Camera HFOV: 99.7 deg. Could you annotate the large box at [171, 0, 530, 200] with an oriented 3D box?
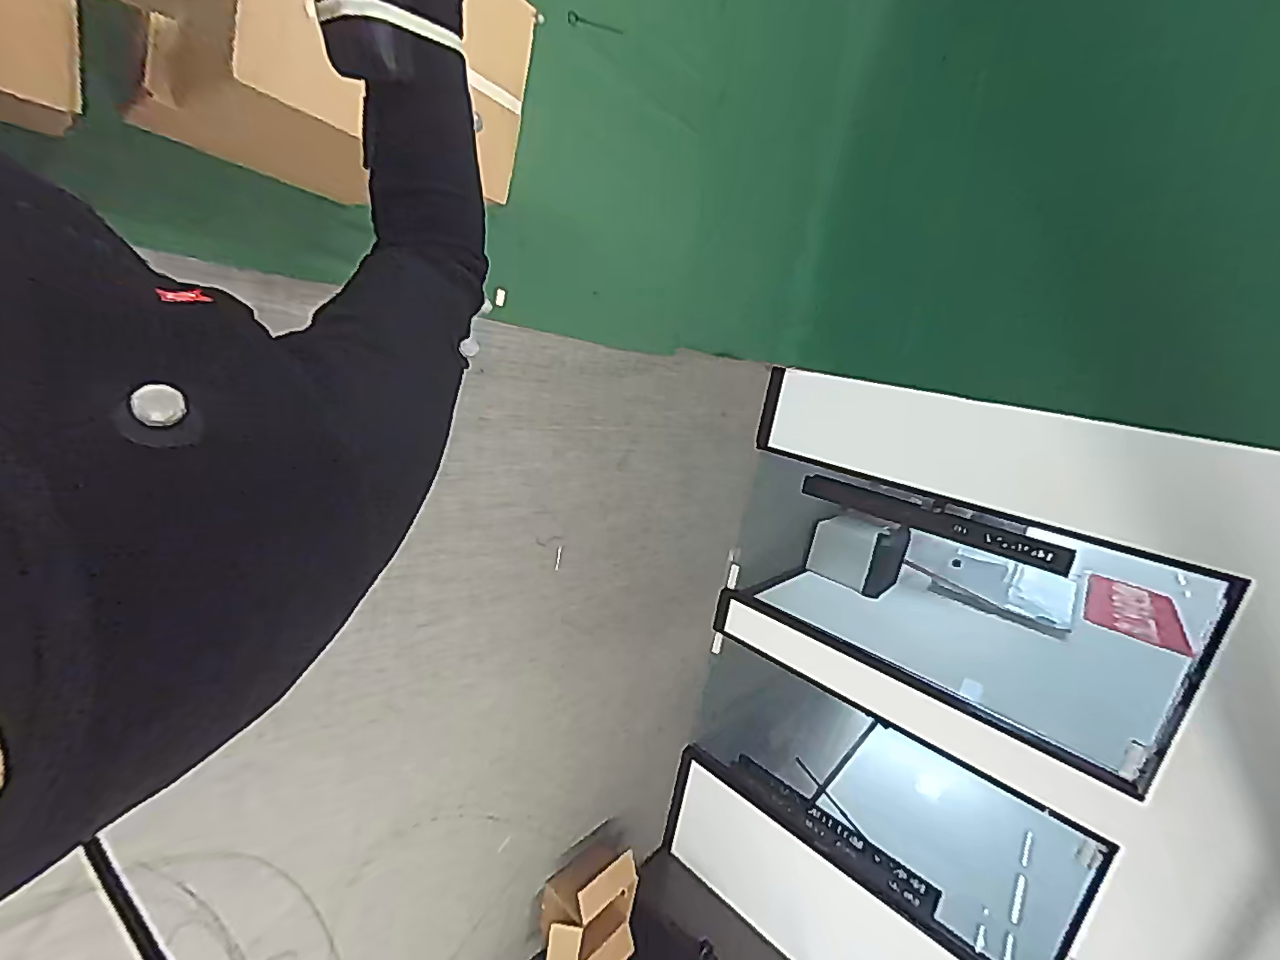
[{"bbox_3d":[-0.448,-0.679,0.854,0.408,0.320,0.320,-2,109,-52],"label":"large box"}]
